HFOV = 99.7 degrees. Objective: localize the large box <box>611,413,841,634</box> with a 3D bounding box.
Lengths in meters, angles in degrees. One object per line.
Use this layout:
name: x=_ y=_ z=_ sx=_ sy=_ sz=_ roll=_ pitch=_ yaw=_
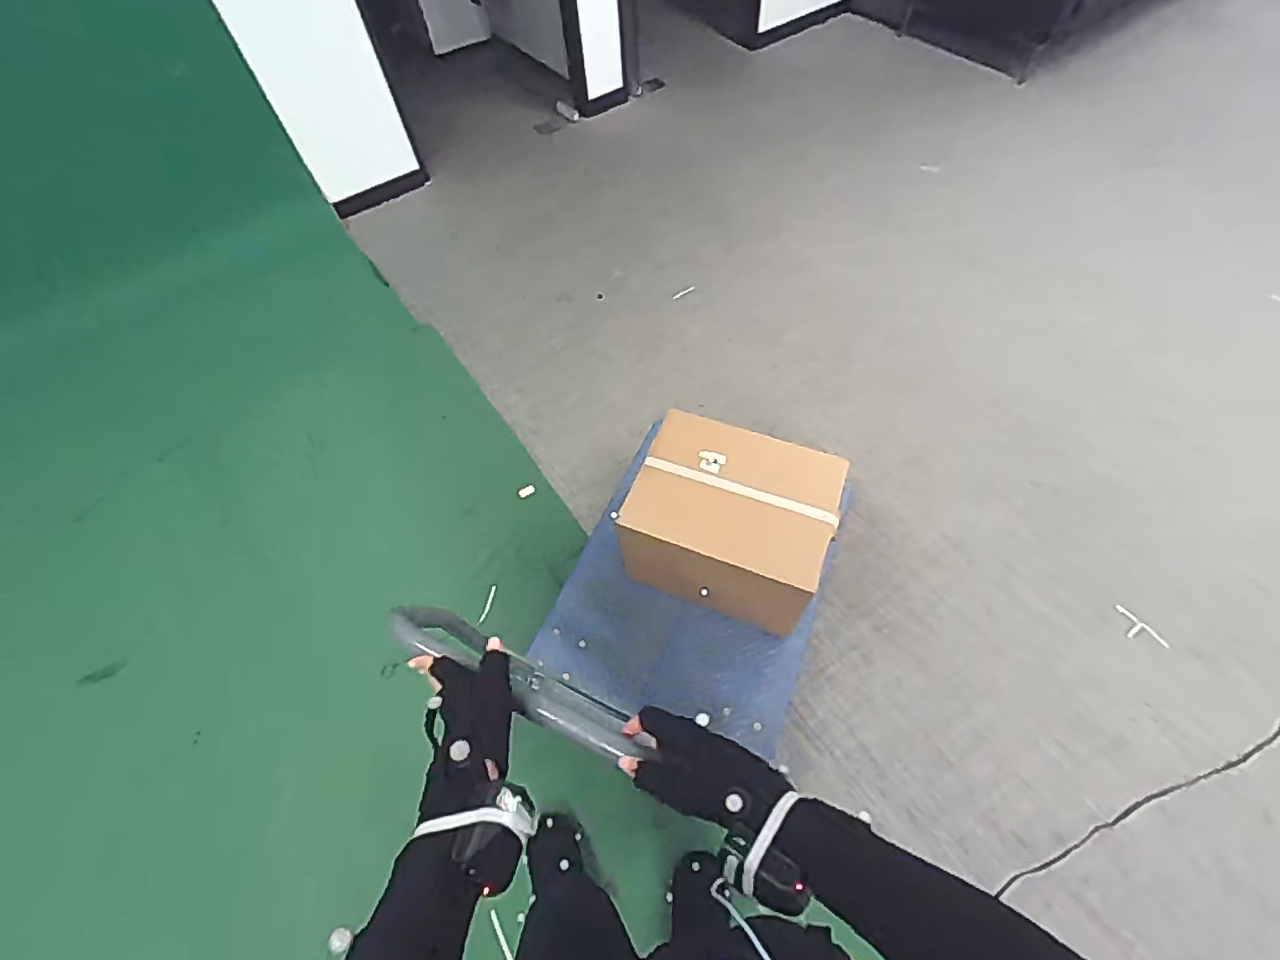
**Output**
large box: x=0.193 y=0.103 z=1.227 sx=0.408 sy=0.320 sz=0.320 roll=18 pitch=61 yaw=16
